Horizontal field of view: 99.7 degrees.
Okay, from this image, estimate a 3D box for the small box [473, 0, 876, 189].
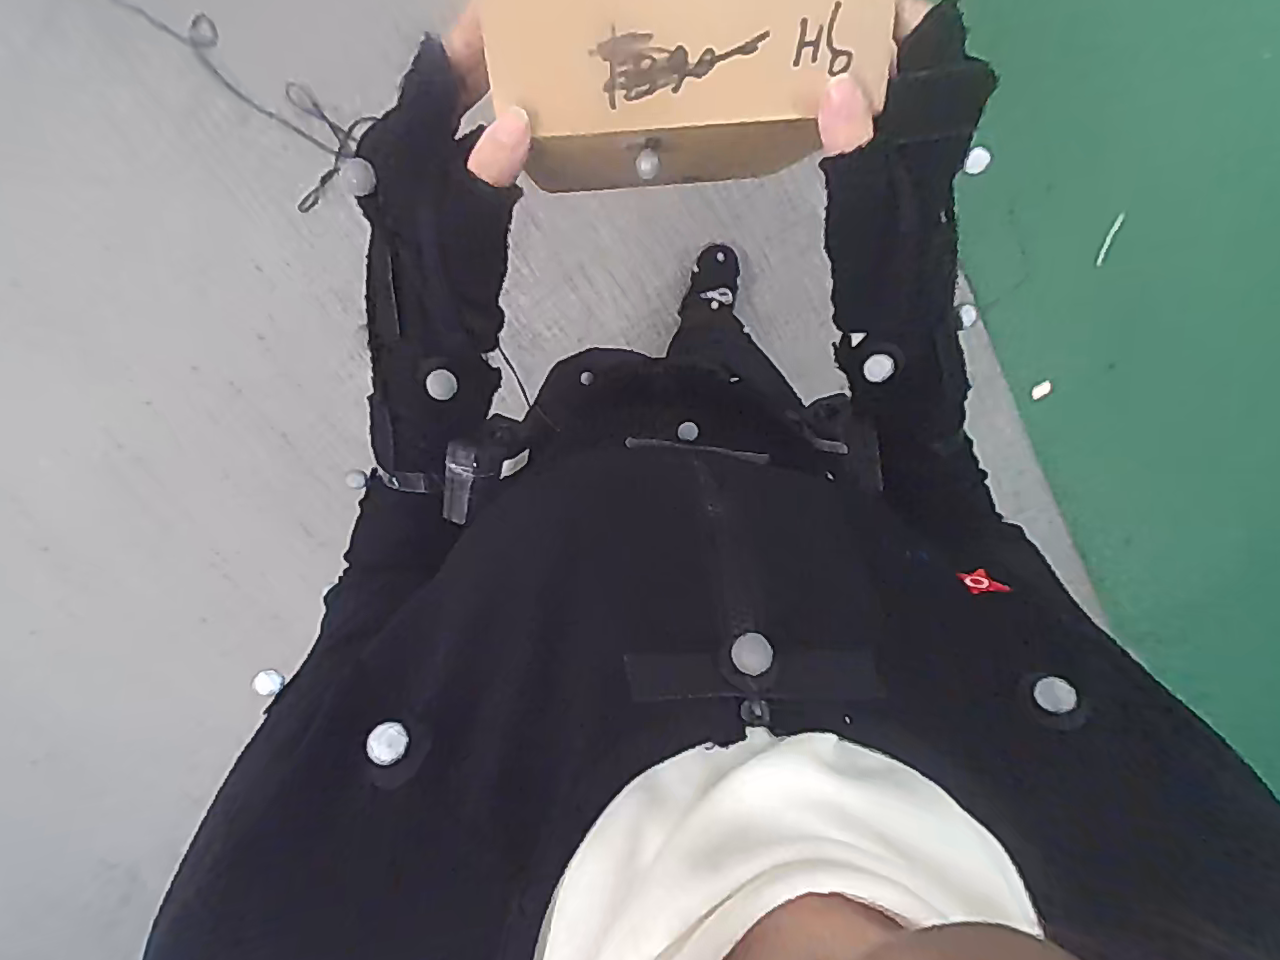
[{"bbox_3d":[0.007,-0.265,0.276,0.168,0.176,0.179,-5,110,-1],"label":"small box"}]
